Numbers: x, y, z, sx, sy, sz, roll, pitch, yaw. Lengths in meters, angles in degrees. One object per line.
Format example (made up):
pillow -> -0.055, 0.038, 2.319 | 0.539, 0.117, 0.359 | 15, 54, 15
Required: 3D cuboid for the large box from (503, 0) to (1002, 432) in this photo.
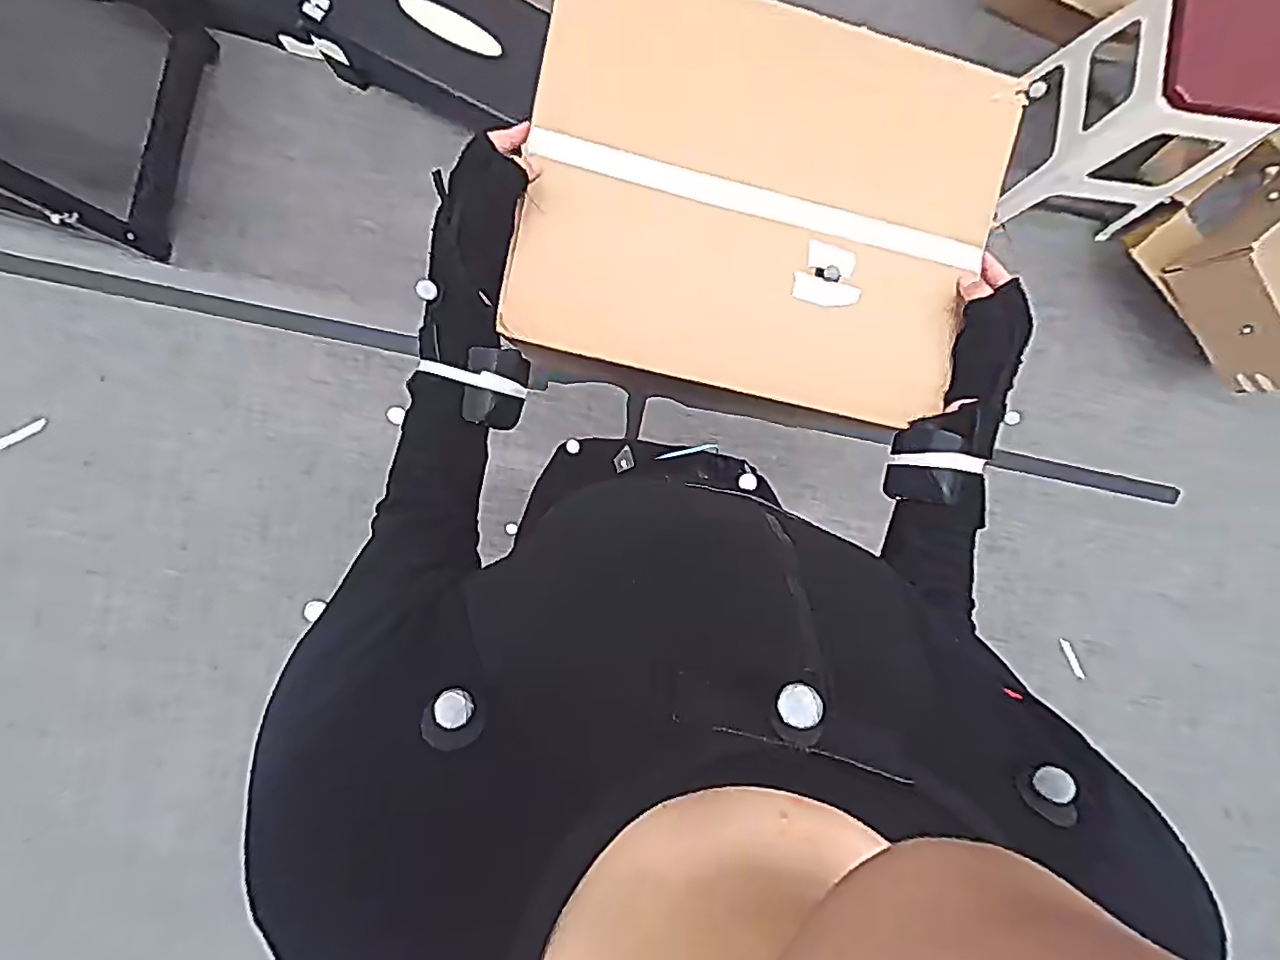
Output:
large box -> 0.086, -0.248, 0.621 | 0.408, 0.320, 0.320 | 12, 97, -8
